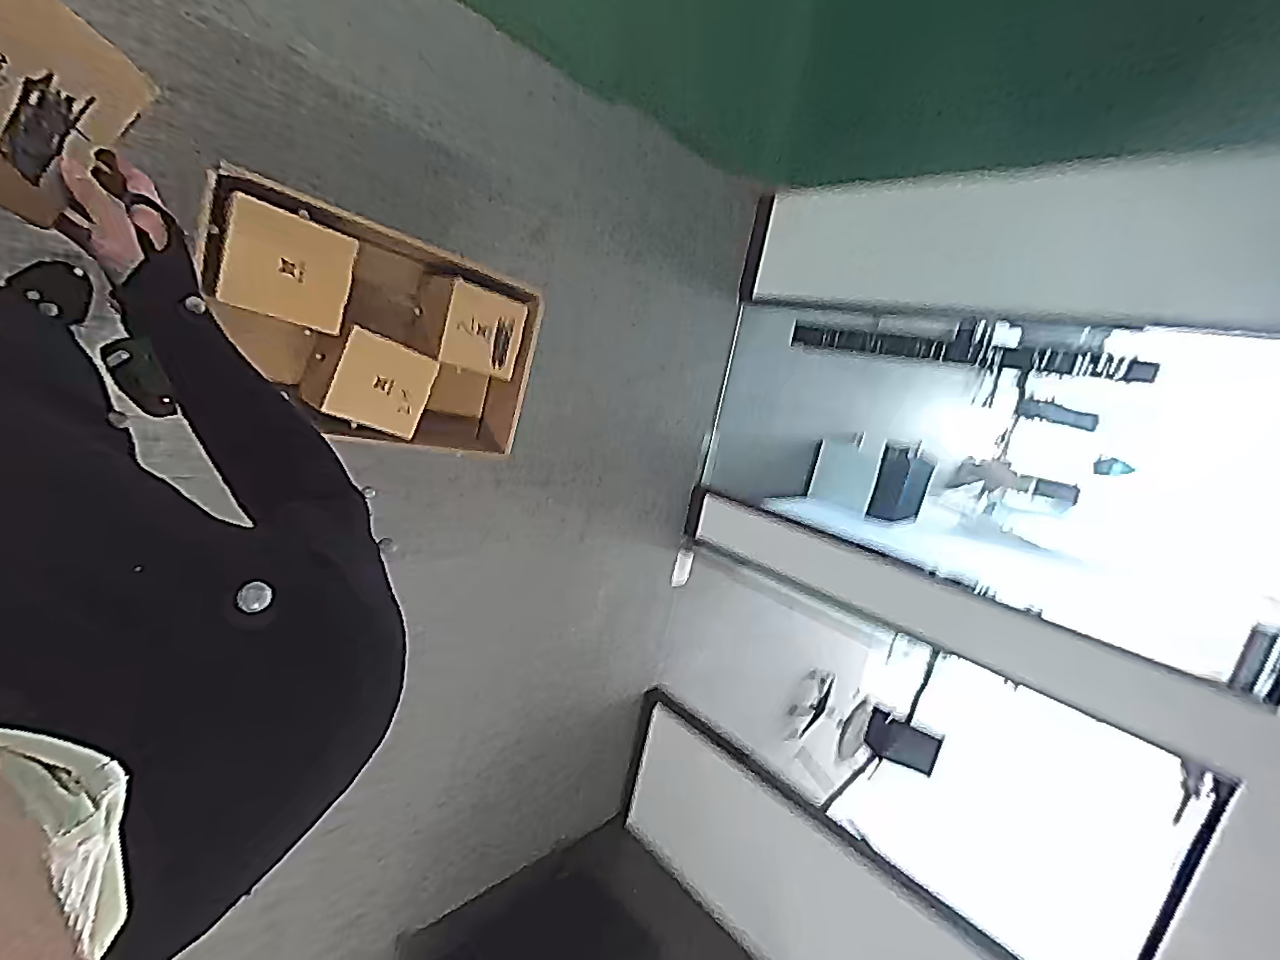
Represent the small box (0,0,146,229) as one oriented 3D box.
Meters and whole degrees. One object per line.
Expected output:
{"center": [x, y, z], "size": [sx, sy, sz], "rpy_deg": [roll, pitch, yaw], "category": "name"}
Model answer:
{"center": [-0.570, -0.341, 0.427], "size": [0.168, 0.176, 0.179], "rpy_deg": [-61, 156, -7], "category": "small box"}
